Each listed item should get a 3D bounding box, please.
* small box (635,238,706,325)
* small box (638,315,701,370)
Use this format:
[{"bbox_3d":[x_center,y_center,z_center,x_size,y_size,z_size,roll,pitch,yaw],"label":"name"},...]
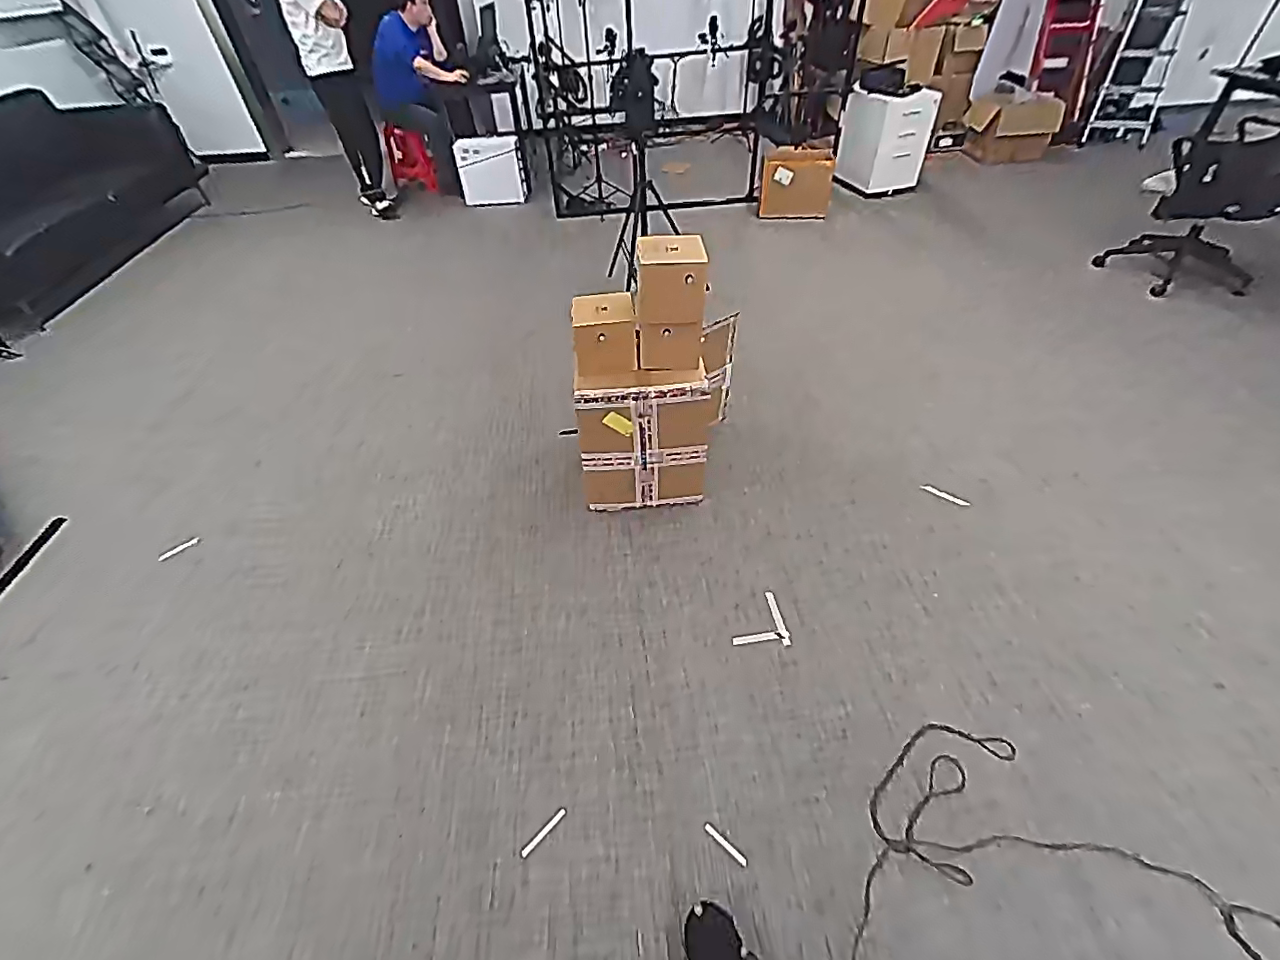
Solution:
[{"bbox_3d":[0.077,-0.534,1.458,0.179,0.176,0.168,-3,46,-1],"label":"small box"},{"bbox_3d":[0.084,-0.437,1.594,0.179,0.176,0.168,0,46,1],"label":"small box"}]
